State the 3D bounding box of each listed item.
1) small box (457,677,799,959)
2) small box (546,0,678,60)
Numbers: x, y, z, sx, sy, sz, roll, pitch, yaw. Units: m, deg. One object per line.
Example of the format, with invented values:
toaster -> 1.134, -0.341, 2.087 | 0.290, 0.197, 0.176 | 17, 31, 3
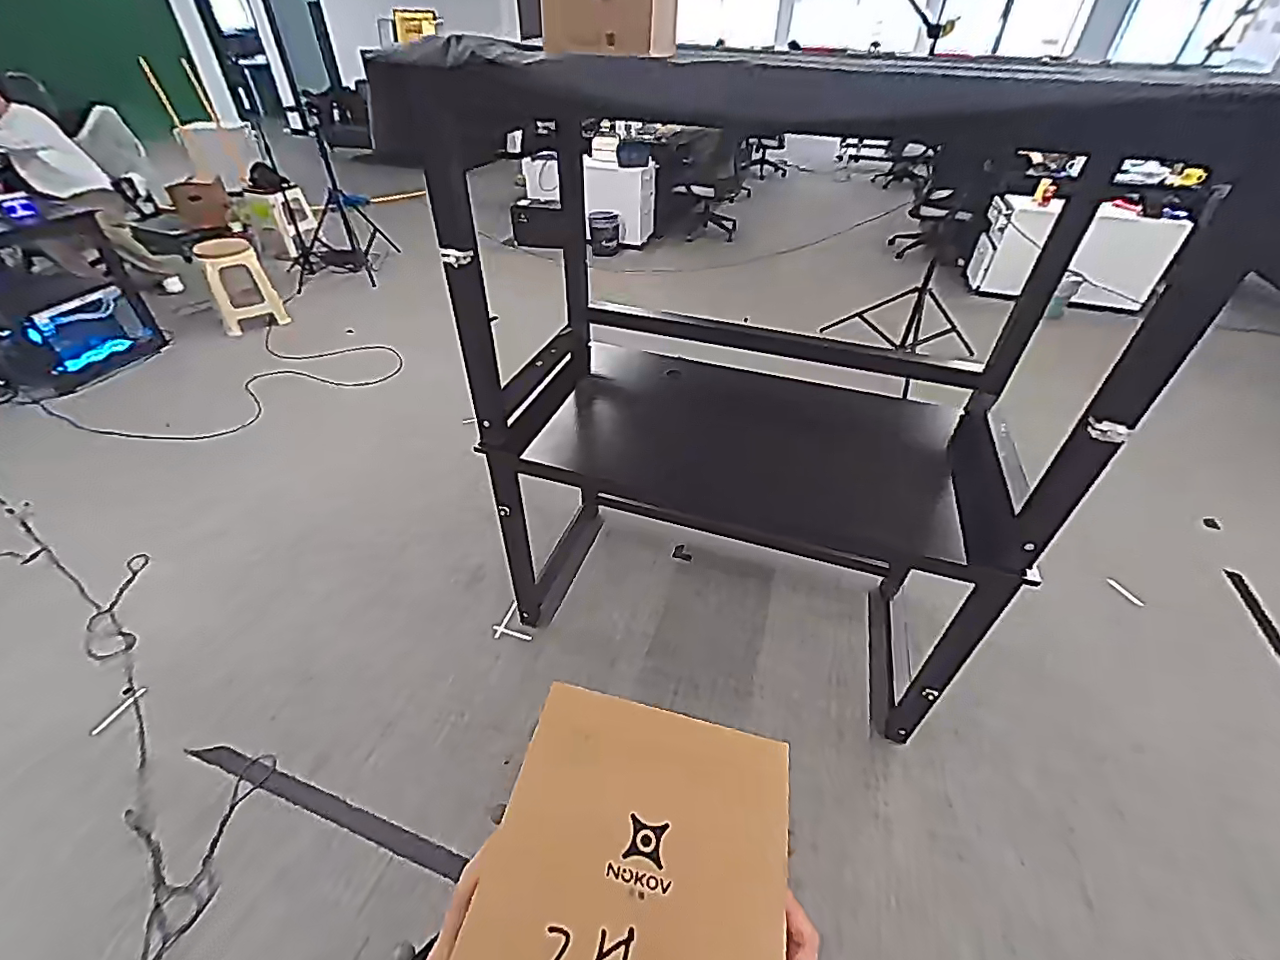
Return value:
small box -> -0.002, 0.267, 0.354 | 0.168, 0.176, 0.179 | 13, 42, 6
small box -> -0.036, -0.726, 0.792 | 0.168, 0.176, 0.179 | 11, 40, 9
